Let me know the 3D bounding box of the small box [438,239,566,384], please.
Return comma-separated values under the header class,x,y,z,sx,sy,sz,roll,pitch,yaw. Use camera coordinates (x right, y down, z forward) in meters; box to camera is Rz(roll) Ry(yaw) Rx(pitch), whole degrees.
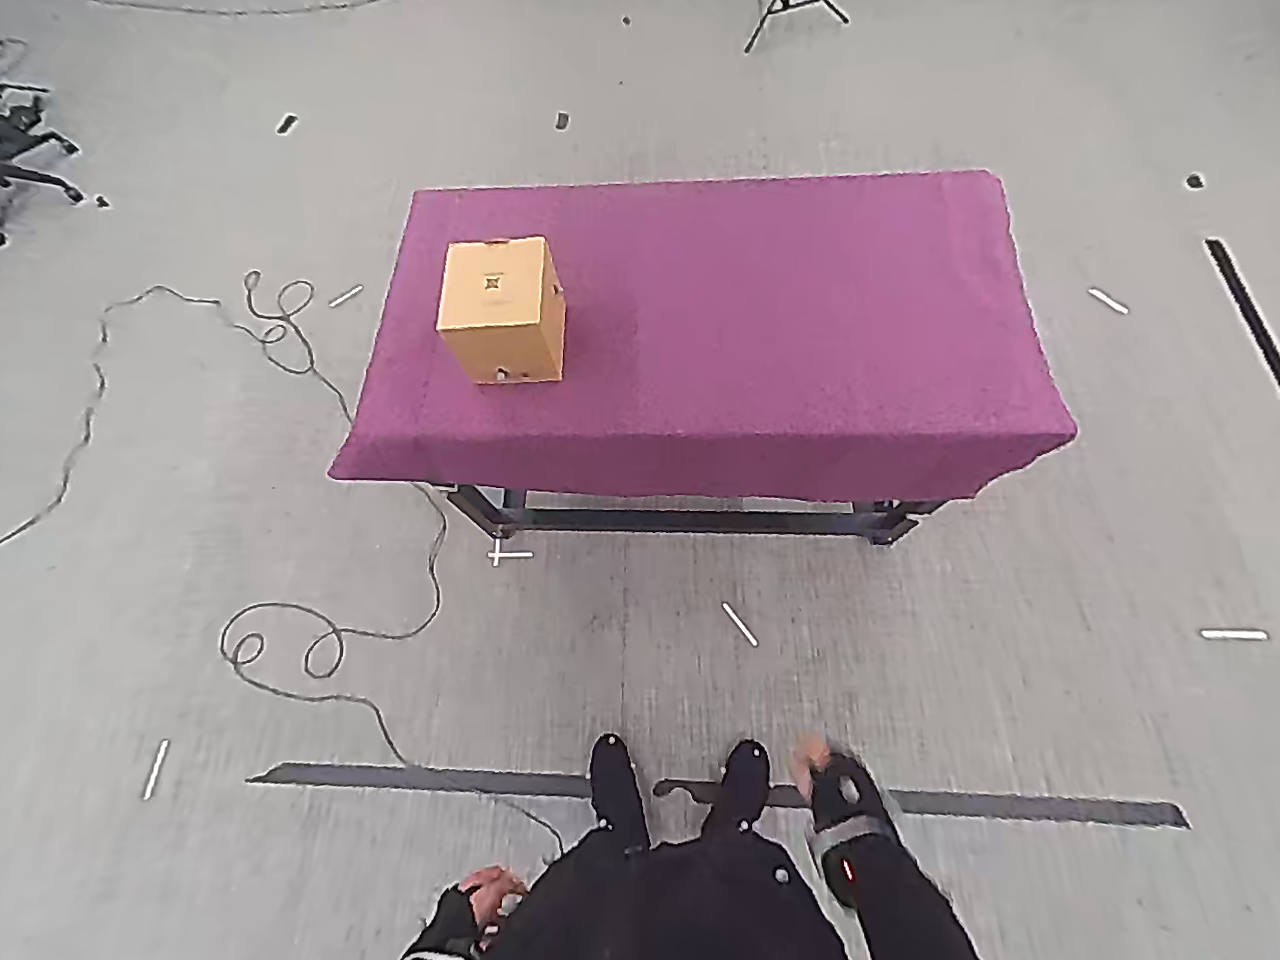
class,x,y,z,sx,sy,sz,roll,pitch,yaw
small box,-0.226,-0.286,0.936,0.168,0.176,0.179,-1,68,4
